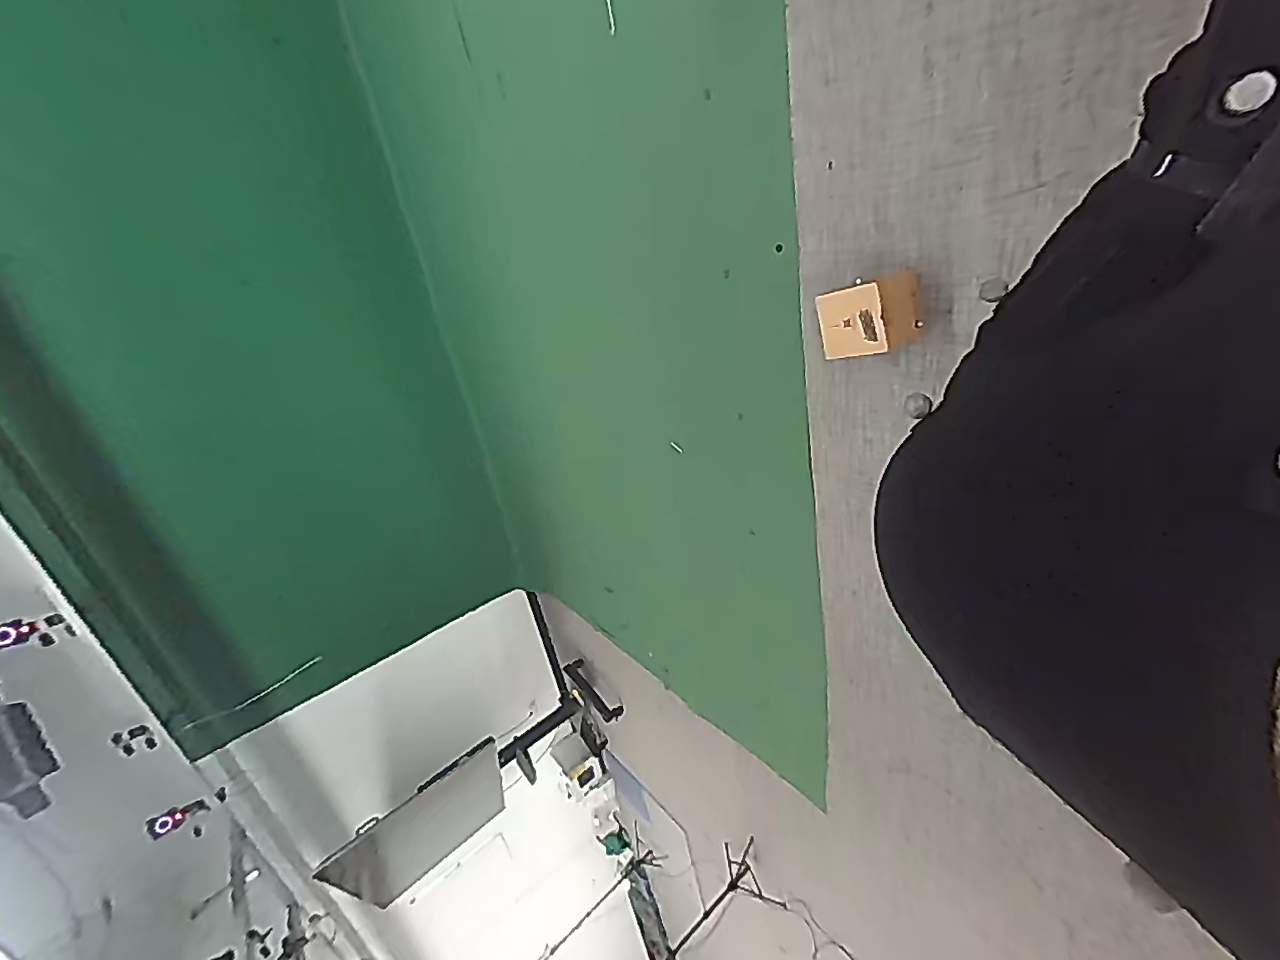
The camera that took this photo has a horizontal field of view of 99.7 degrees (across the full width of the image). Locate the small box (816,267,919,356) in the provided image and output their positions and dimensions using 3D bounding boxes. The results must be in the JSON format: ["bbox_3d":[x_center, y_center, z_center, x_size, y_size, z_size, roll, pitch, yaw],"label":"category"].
[{"bbox_3d":[0.578,-0.422,1.358,0.179,0.176,0.168,8,119,55],"label":"small box"}]
